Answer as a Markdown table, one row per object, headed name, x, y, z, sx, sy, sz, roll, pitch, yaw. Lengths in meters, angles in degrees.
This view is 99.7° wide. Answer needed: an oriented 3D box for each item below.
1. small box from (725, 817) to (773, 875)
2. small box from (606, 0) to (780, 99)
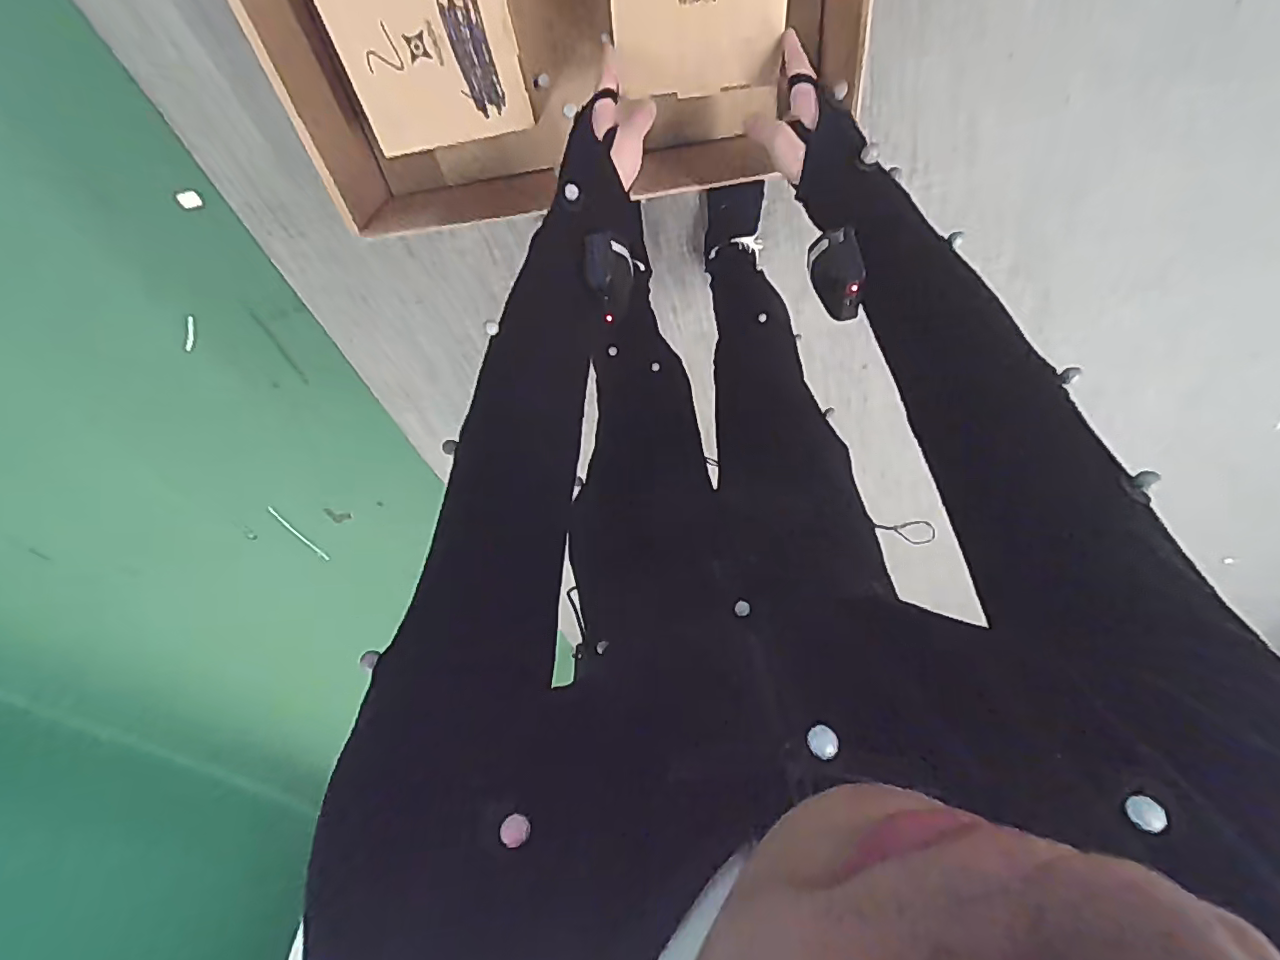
| name | x | y | z | sx | sy | sz | roll | pitch | yaw |
| --- | --- | --- | --- | --- | --- | --- | --- | --- | --- |
| small box | 0.445 | 1.498 | 2.209 | 0.168 | 0.176 | 0.179 | -10 | 133 | 12 |
| small box | 0.050 | -0.516 | 0.546 | 0.168 | 0.176 | 0.179 | -3 | 137 | 4 |
